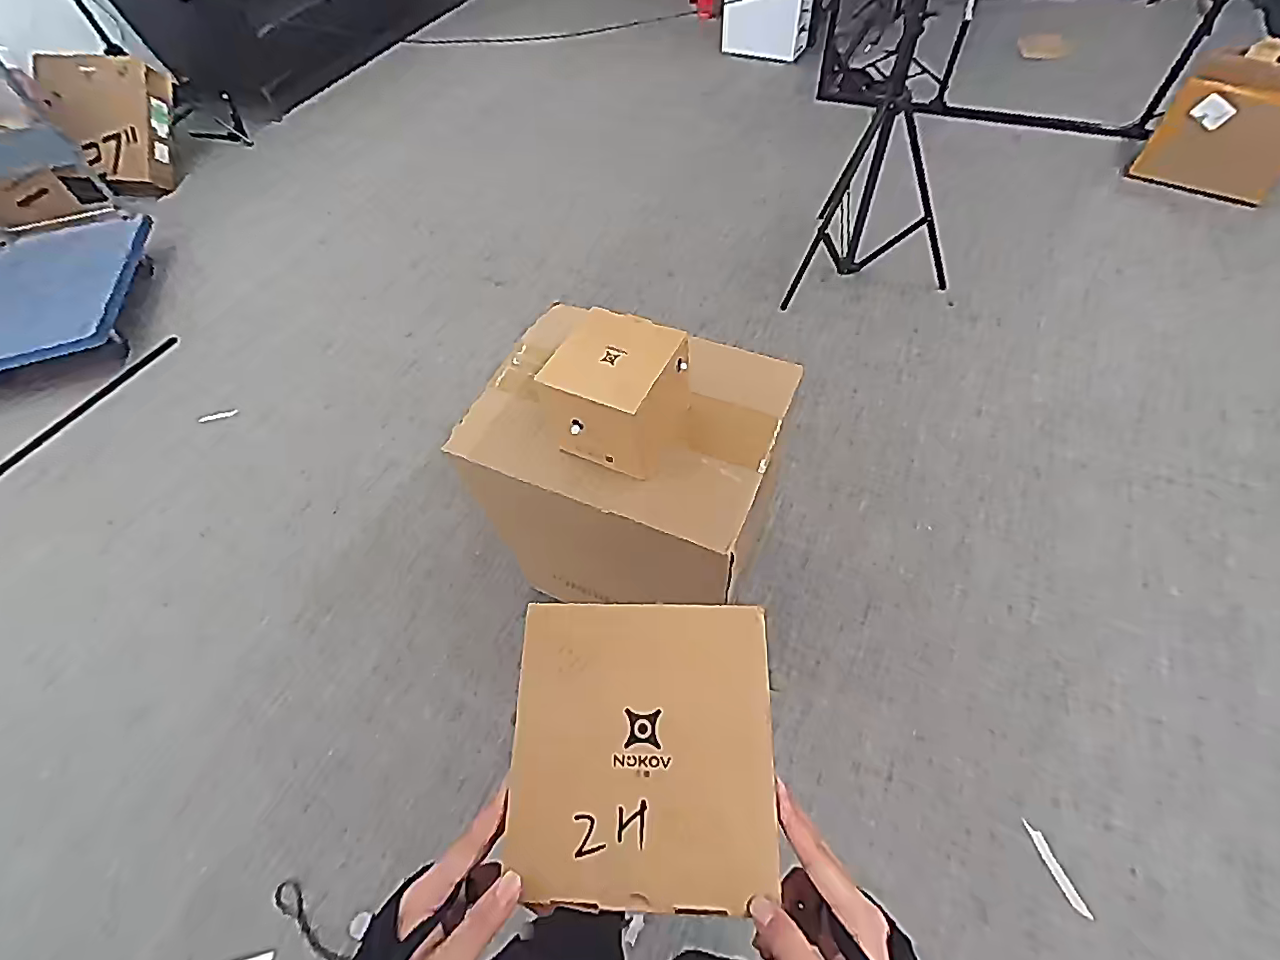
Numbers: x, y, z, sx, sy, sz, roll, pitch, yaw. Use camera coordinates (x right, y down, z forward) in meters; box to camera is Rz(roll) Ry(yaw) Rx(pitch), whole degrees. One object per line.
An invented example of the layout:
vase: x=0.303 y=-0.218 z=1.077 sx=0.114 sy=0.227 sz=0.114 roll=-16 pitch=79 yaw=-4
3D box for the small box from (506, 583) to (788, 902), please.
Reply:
small box: x=0.013 y=0.185 z=0.413 sx=0.168 sy=0.176 sz=0.179 roll=0 pitch=67 yaw=6

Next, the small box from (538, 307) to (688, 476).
small box: x=-0.029 y=-0.133 z=0.845 sx=0.168 sy=0.176 sz=0.179 roll=21 pitch=60 yaw=18
